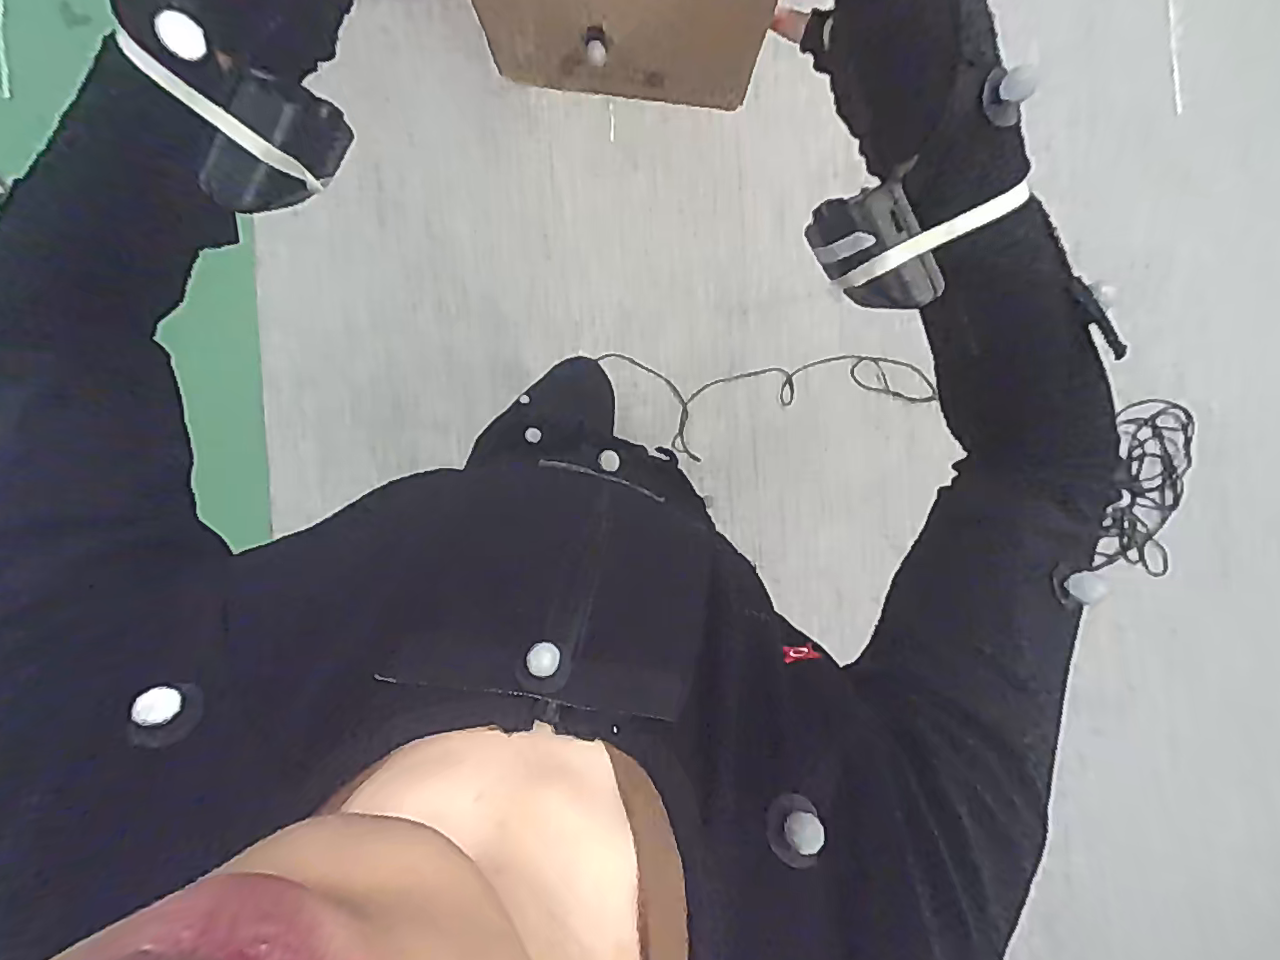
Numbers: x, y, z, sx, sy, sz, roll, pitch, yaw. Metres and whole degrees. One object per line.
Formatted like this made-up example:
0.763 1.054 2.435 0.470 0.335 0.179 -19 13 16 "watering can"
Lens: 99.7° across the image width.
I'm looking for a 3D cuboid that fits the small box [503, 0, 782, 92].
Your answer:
0.004 -0.347 0.276 0.168 0.176 0.179 5 98 -1 "small box"
